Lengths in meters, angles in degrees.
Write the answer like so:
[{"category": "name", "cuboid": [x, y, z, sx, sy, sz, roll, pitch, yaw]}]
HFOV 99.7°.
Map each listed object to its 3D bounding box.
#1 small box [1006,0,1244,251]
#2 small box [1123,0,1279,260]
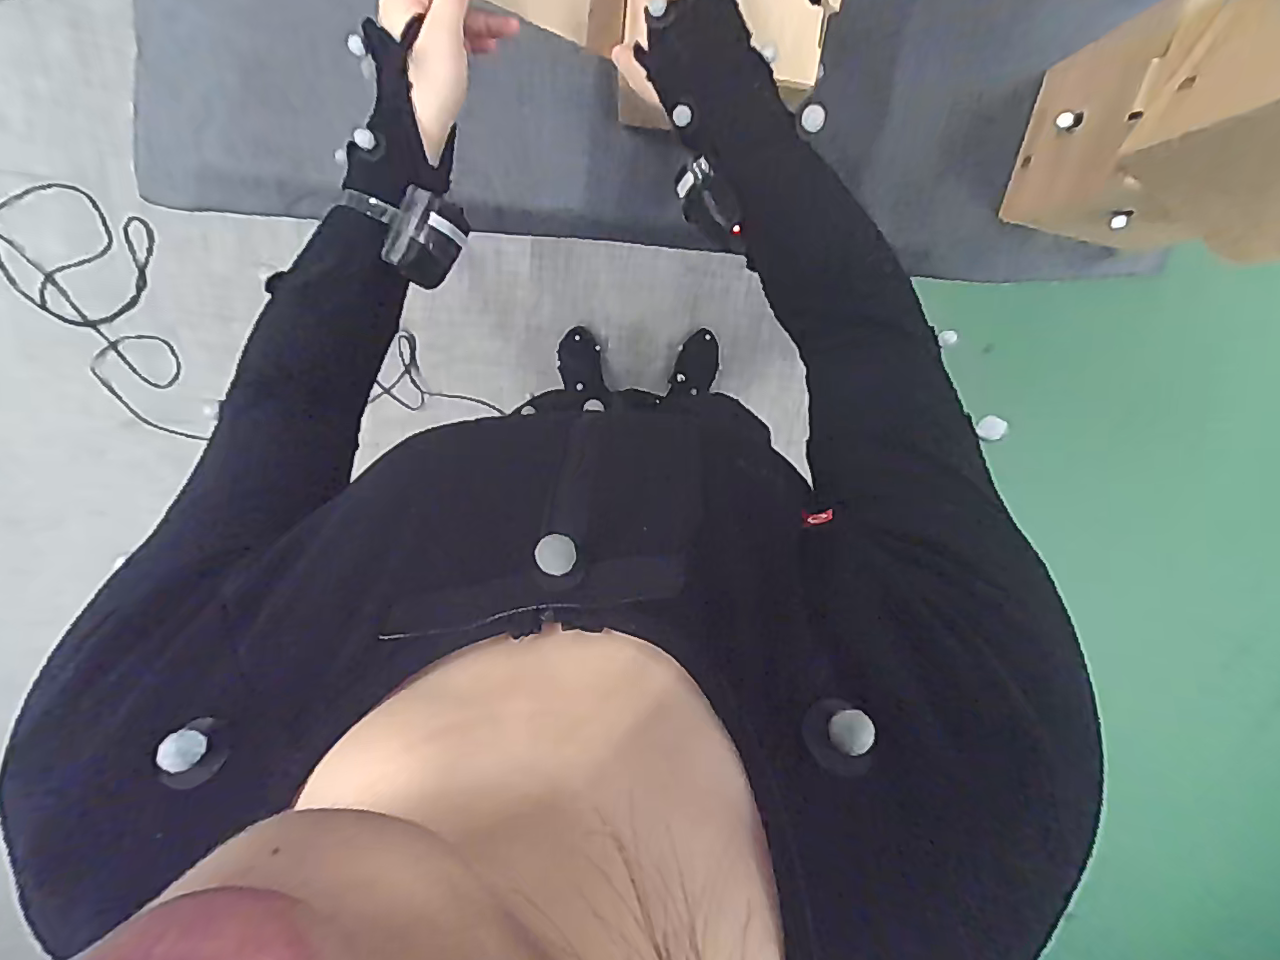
[{"category": "small box", "cuboid": [0.541, -0.353, 0.573, 0.179, 0.176, 0.168, 10, 104, -5]}, {"category": "small box", "cuboid": [0.550, -0.294, 0.420, 0.179, 0.176, 0.168, 31, 101, -11]}]
